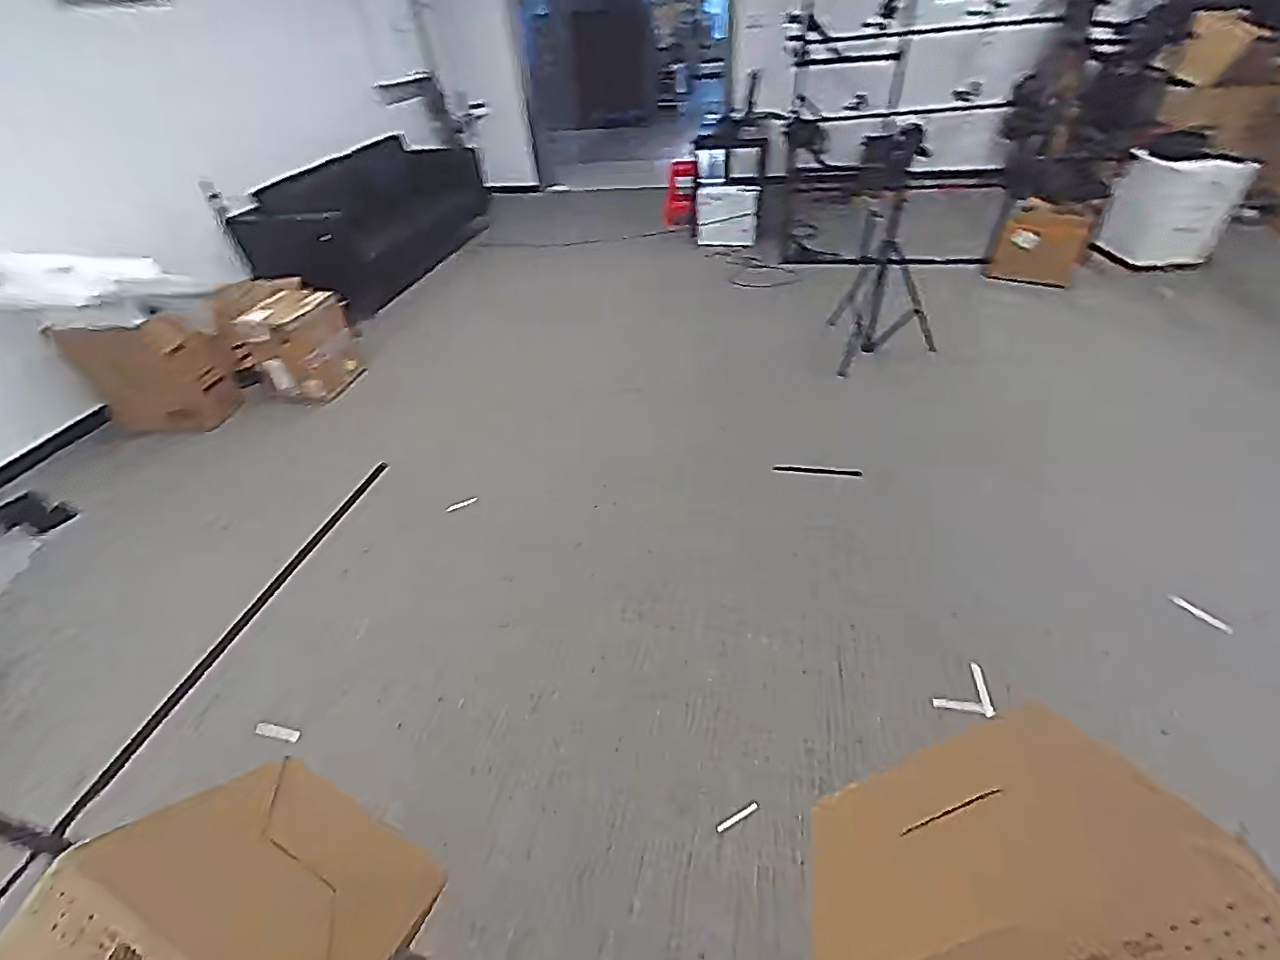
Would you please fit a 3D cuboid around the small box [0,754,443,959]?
[{"bbox_3d":[-0.254,0.296,0.322,0.168,0.179,0.176,30,79,8],"label":"small box"}]
